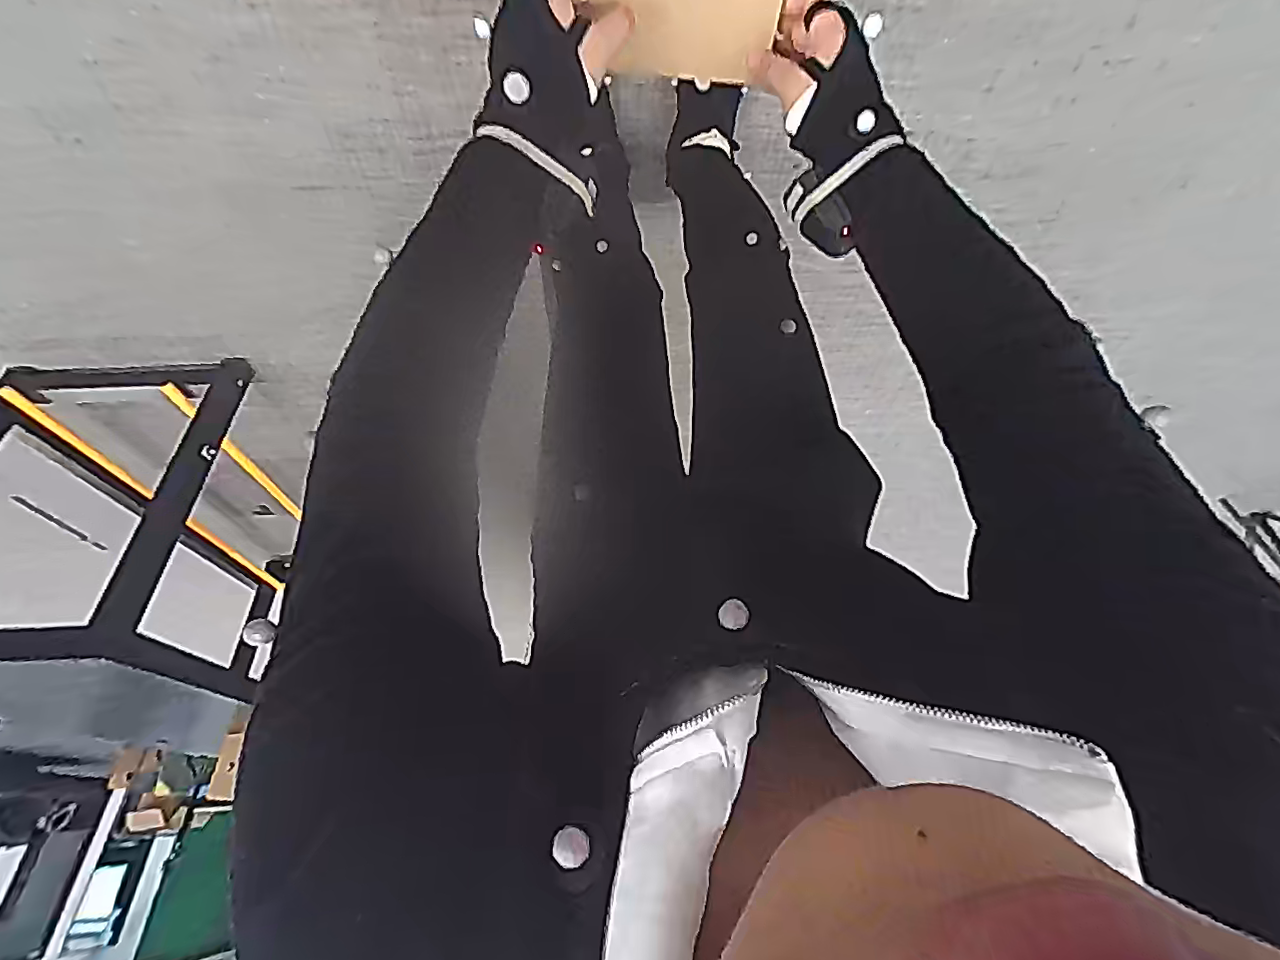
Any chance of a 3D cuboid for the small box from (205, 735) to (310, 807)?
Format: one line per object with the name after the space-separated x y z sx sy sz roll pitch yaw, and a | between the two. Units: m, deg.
-1.118 0.861 1.598 0.179 0.176 0.168 -3 148 -3 | small box
